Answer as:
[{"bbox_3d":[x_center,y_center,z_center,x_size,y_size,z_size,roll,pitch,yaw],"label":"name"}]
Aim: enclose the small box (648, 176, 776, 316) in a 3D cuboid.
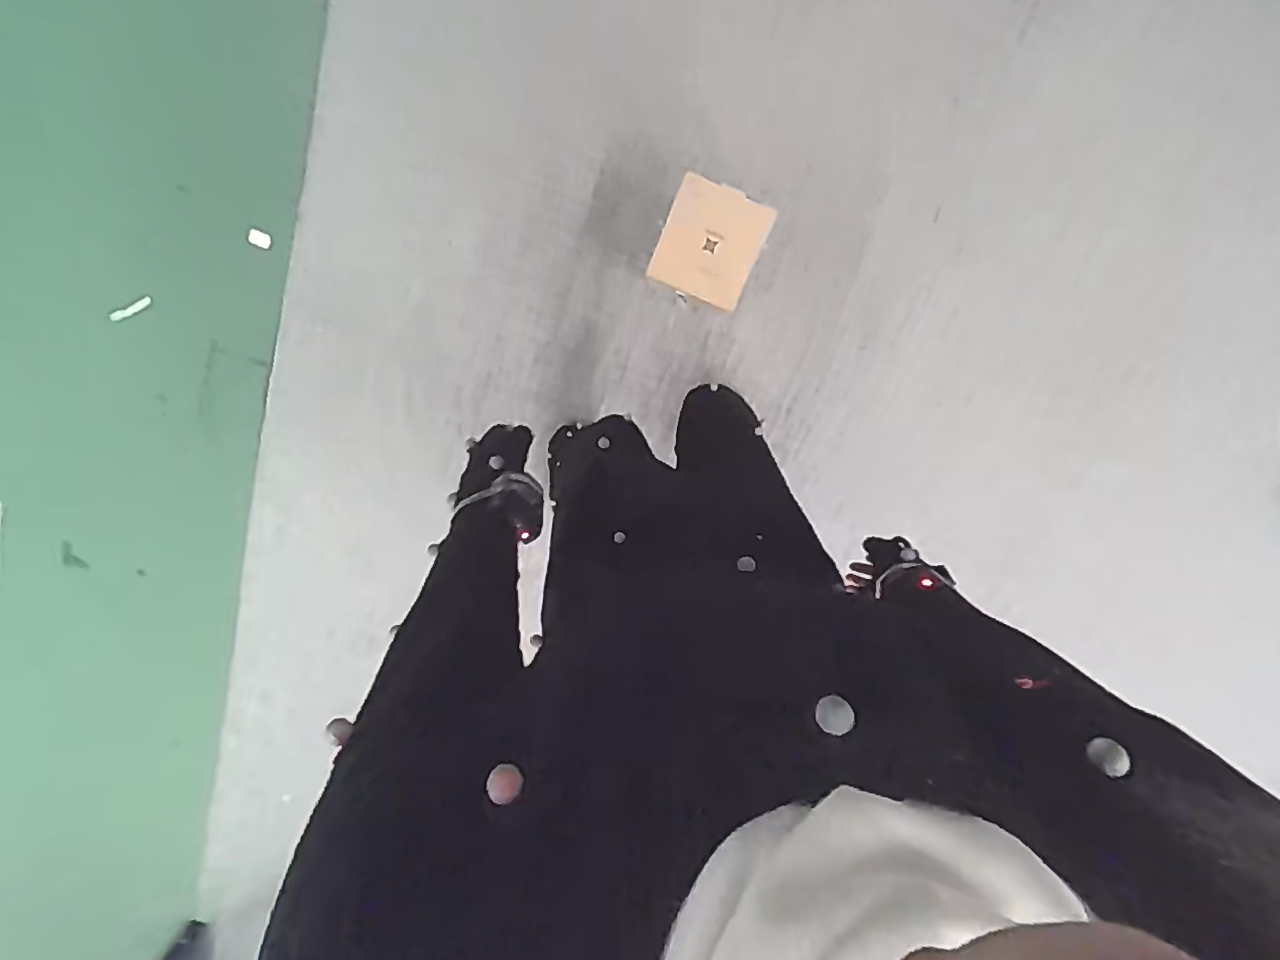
[{"bbox_3d":[0.124,-0.412,0.984,0.168,0.176,0.179,23,107,-2],"label":"small box"}]
